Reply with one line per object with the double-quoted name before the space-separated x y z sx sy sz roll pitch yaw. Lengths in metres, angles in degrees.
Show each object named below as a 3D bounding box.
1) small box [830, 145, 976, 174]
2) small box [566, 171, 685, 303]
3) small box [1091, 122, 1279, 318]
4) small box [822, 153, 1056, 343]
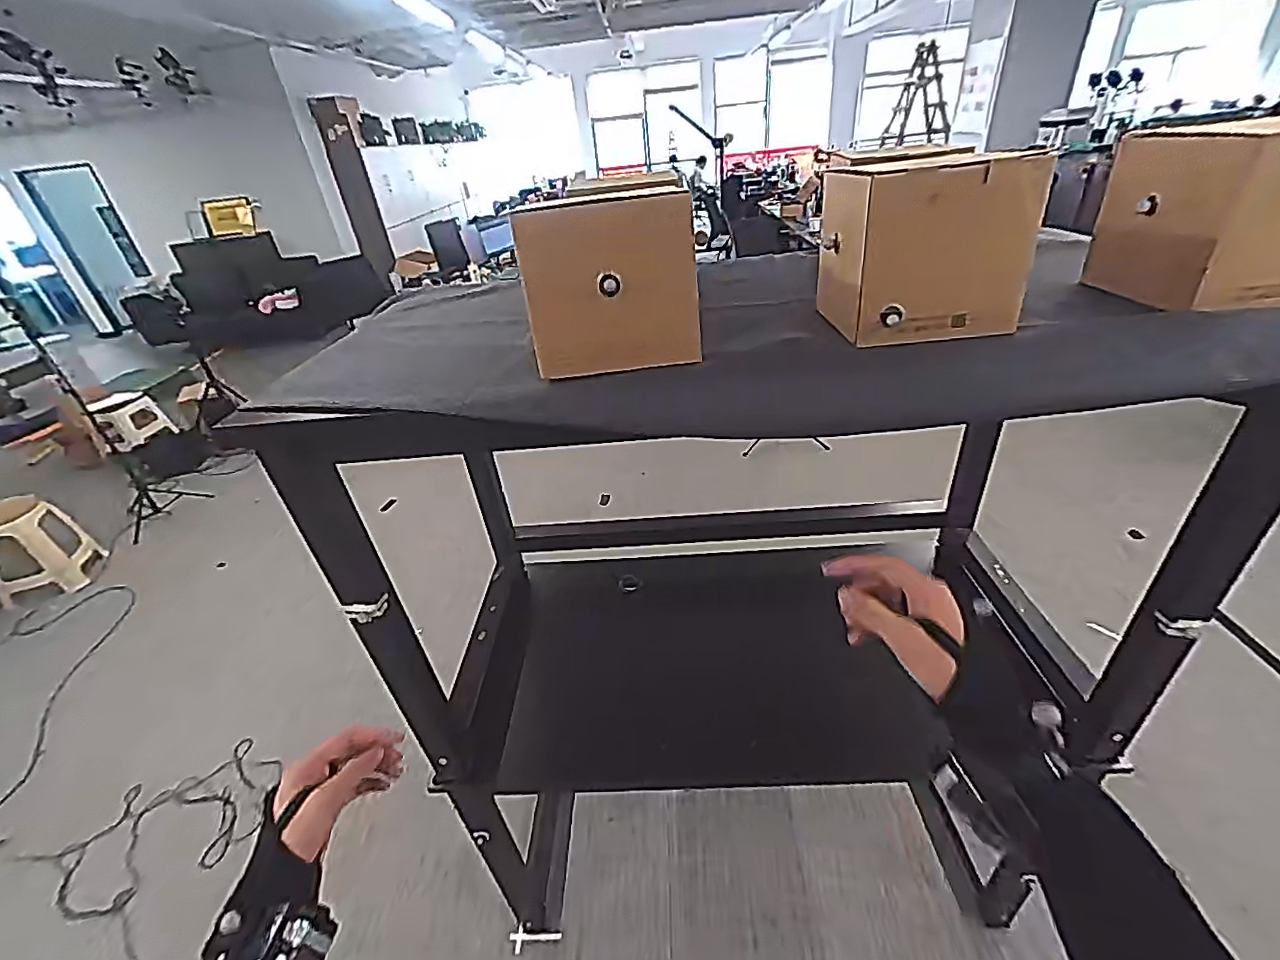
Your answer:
"small box" 0.395 -0.421 0.856 0.168 0.176 0.179 0 32 8
"small box" -0.016 -0.389 0.875 0.168 0.176 0.179 -4 33 3
"small box" 0.647 -0.283 0.586 0.168 0.176 0.179 -5 31 5
"small box" 0.309 -0.255 0.604 0.168 0.176 0.179 -4 30 5
